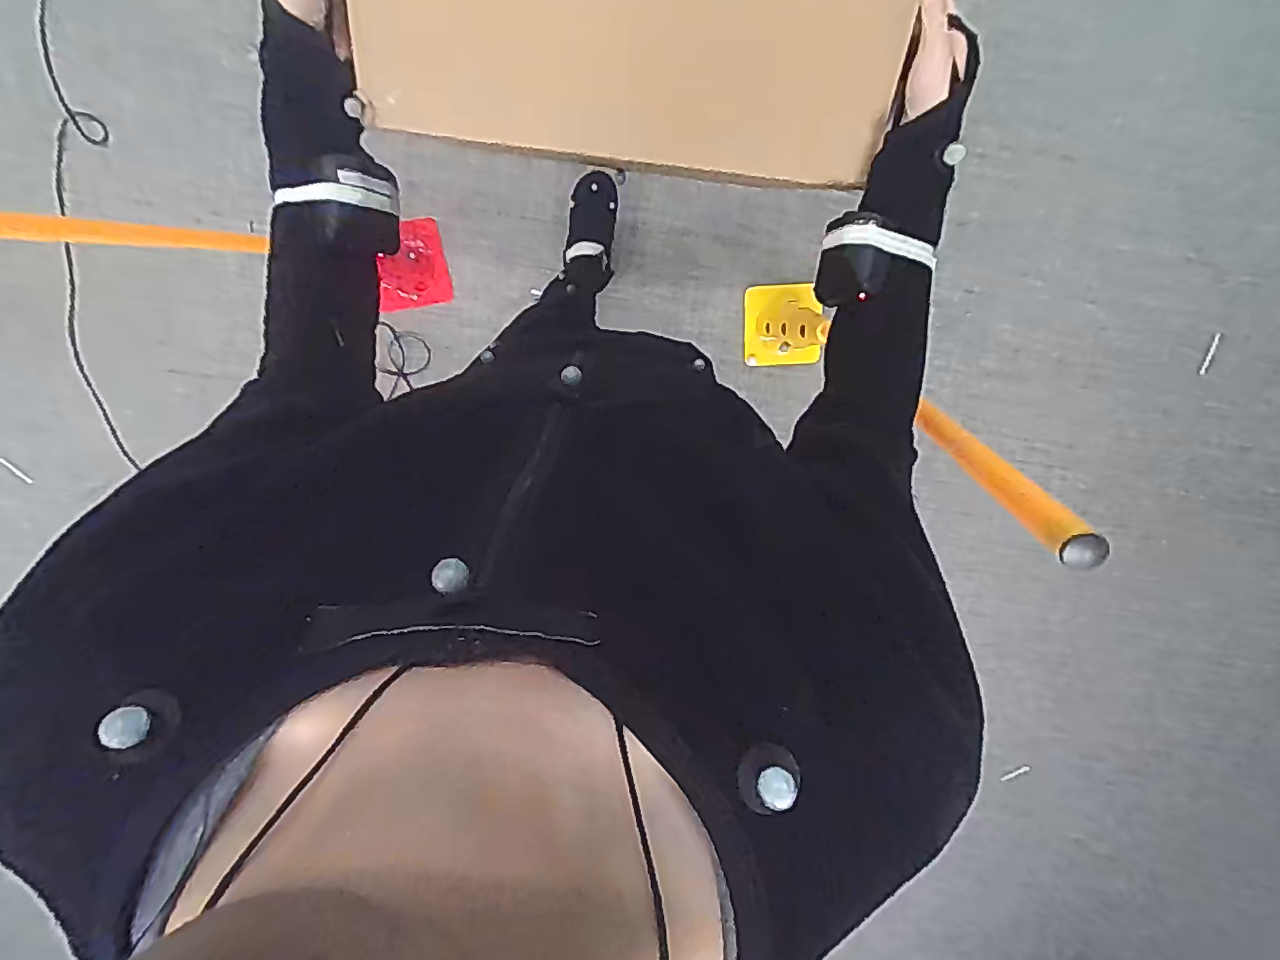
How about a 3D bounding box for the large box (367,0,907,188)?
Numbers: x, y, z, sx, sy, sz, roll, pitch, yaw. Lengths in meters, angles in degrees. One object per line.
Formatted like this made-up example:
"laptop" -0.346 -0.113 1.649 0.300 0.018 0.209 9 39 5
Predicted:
"large box" 0.001 -0.468 0.504 0.408 0.320 0.320 4 118 -5
